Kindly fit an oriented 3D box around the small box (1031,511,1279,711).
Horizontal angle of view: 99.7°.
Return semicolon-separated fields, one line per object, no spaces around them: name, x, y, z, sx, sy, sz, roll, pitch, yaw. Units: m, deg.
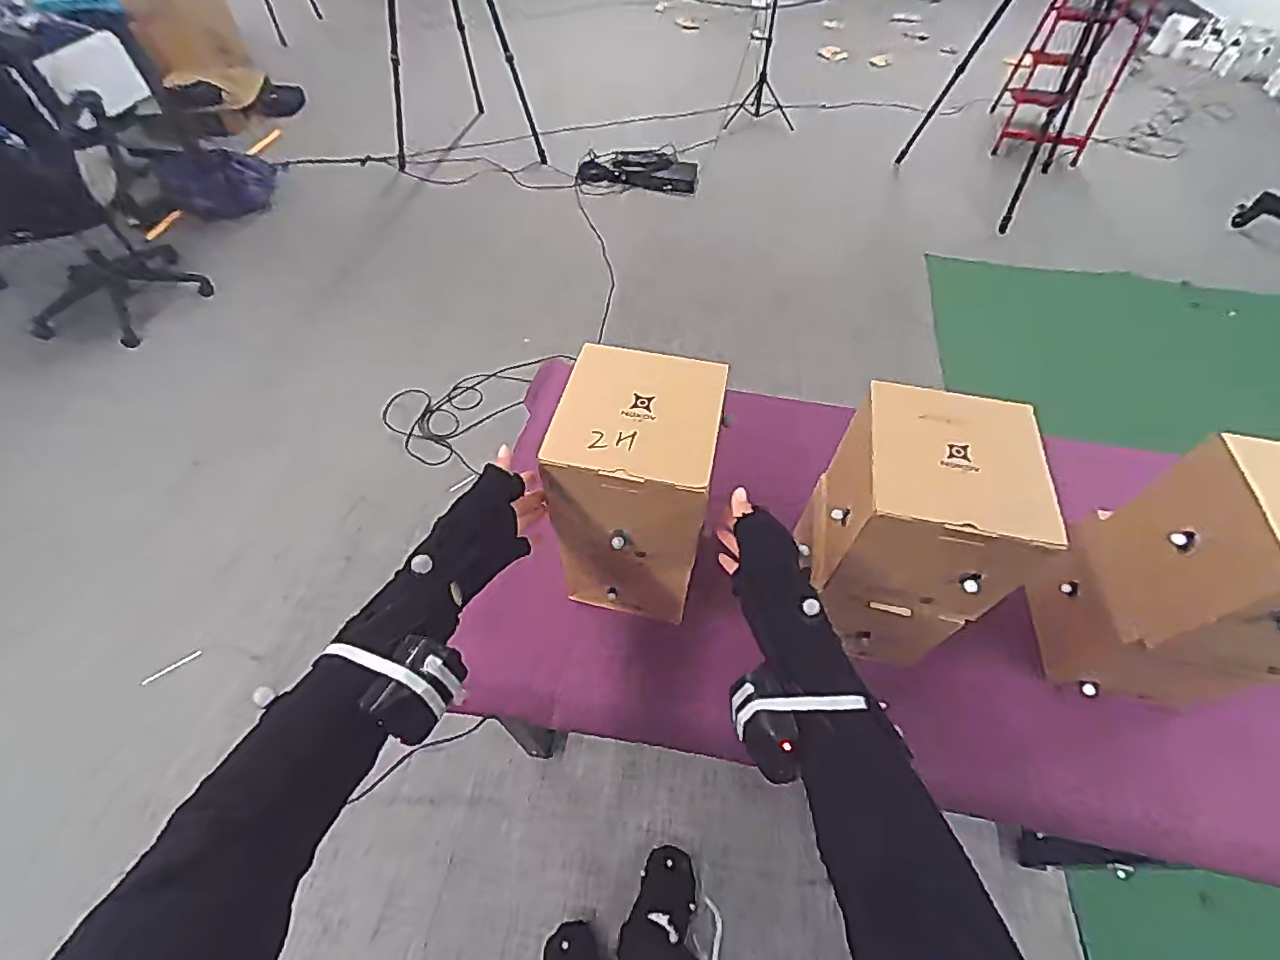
small box;0.634;0.170;0.678;0.168;0.176;0.179;14;56;7

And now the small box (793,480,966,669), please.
small box;0.300;0.128;0.711;0.168;0.176;0.179;9;54;11

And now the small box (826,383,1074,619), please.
small box;0.306;0.028;0.577;0.168;0.176;0.179;11;55;7

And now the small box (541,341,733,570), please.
small box;0.001;-0.025;0.610;0.168;0.176;0.179;11;56;7
